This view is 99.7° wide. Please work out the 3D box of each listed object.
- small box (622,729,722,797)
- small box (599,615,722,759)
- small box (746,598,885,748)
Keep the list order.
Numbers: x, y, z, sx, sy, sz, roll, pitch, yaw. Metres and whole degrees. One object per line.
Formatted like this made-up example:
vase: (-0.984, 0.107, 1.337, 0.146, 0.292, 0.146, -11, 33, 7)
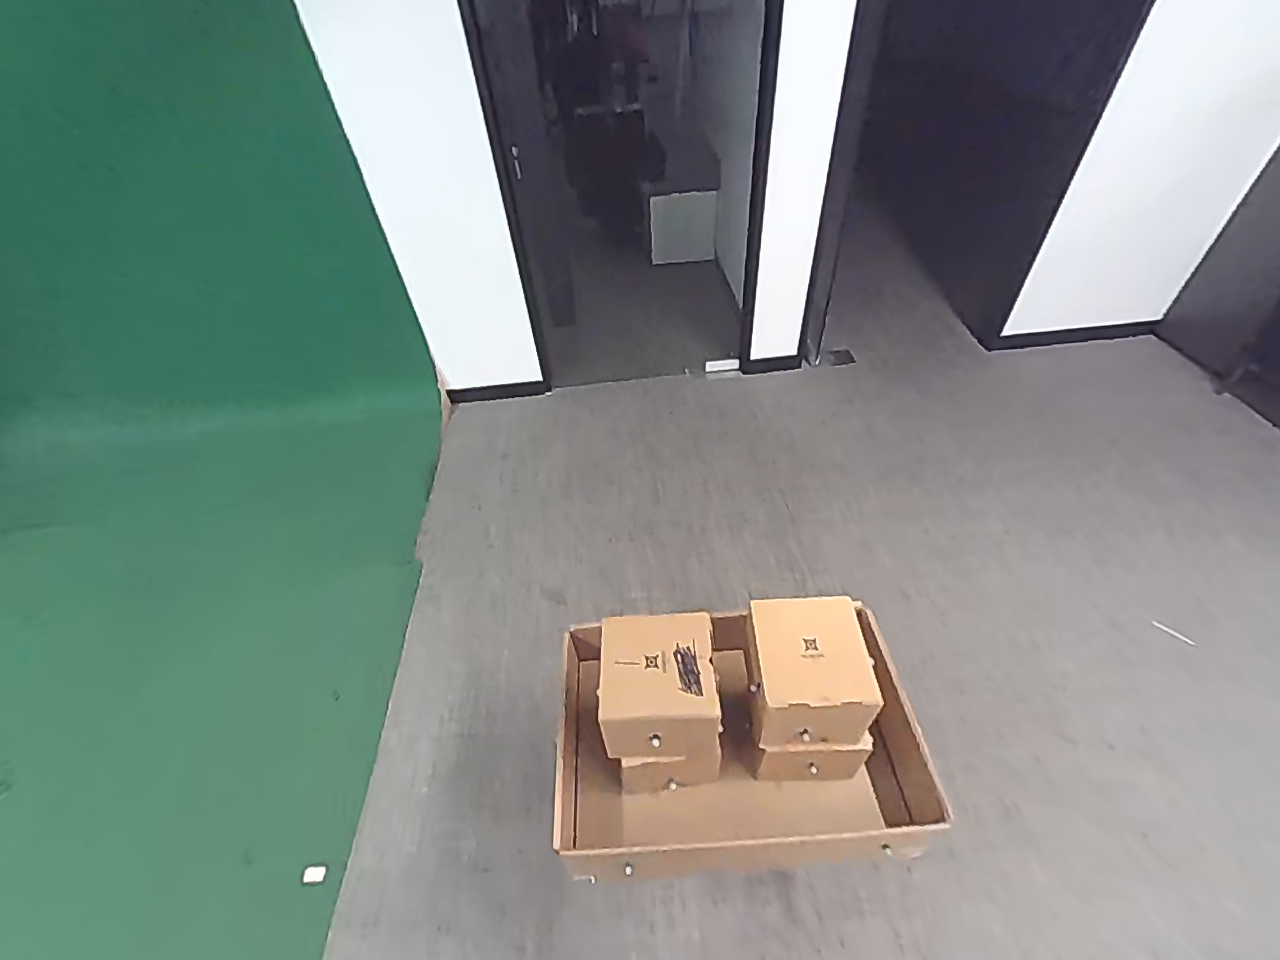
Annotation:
small box: (0.047, 0.449, 0.986, 0.168, 0.176, 0.179, -7, 45, -2)
small box: (0.032, 0.334, 0.870, 0.179, 0.176, 0.168, -3, 44, 2)
small box: (0.268, 0.313, 0.876, 0.168, 0.176, 0.179, -3, 45, 3)
